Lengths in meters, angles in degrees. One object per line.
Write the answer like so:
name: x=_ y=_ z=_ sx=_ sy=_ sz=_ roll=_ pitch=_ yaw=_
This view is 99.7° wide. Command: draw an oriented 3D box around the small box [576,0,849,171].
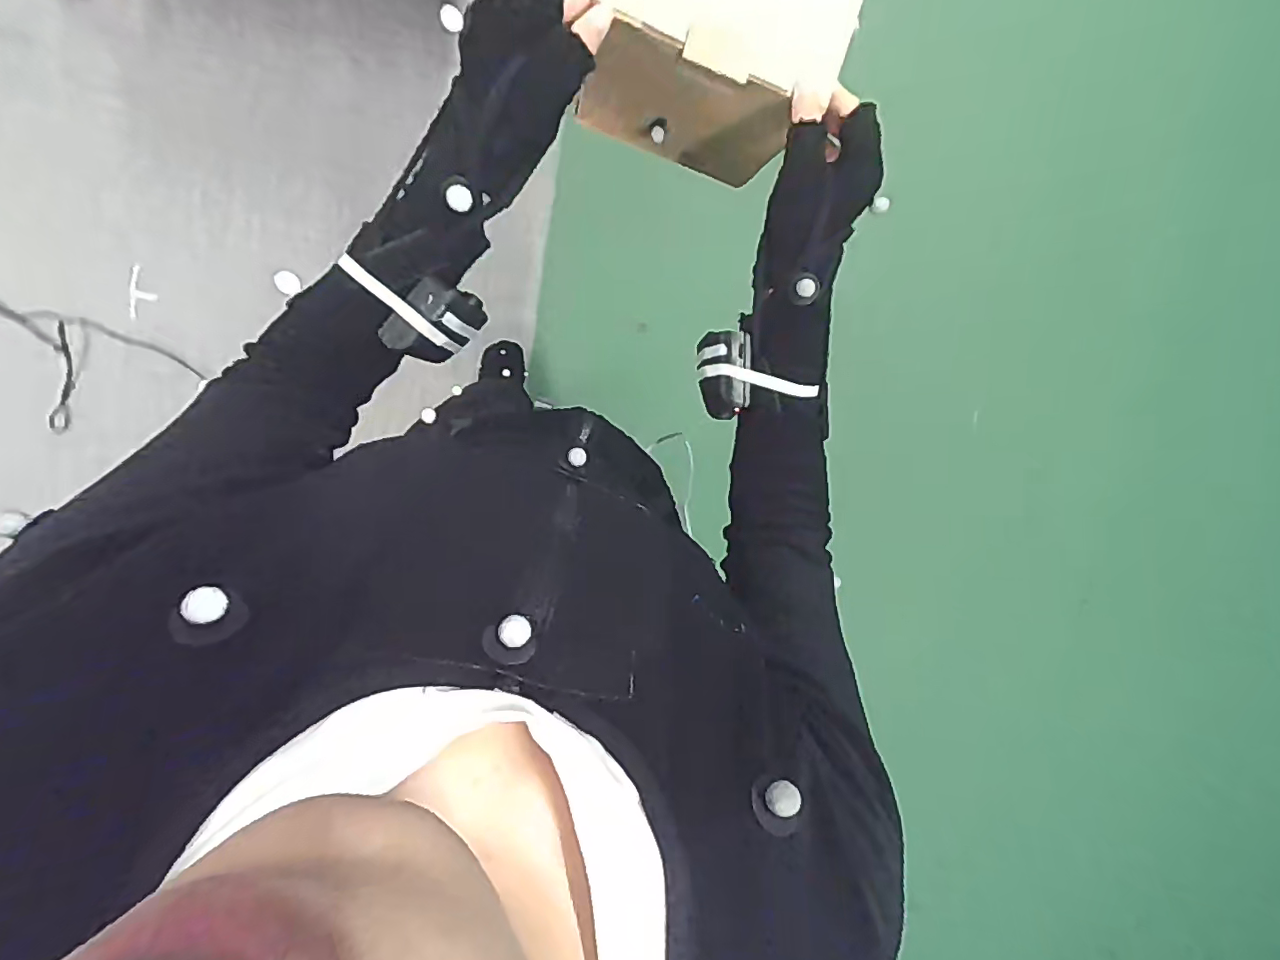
small box: x=0.052 y=-0.375 z=0.410 sx=0.168 sy=0.176 sz=0.179 roll=14 pitch=100 yaw=-13
